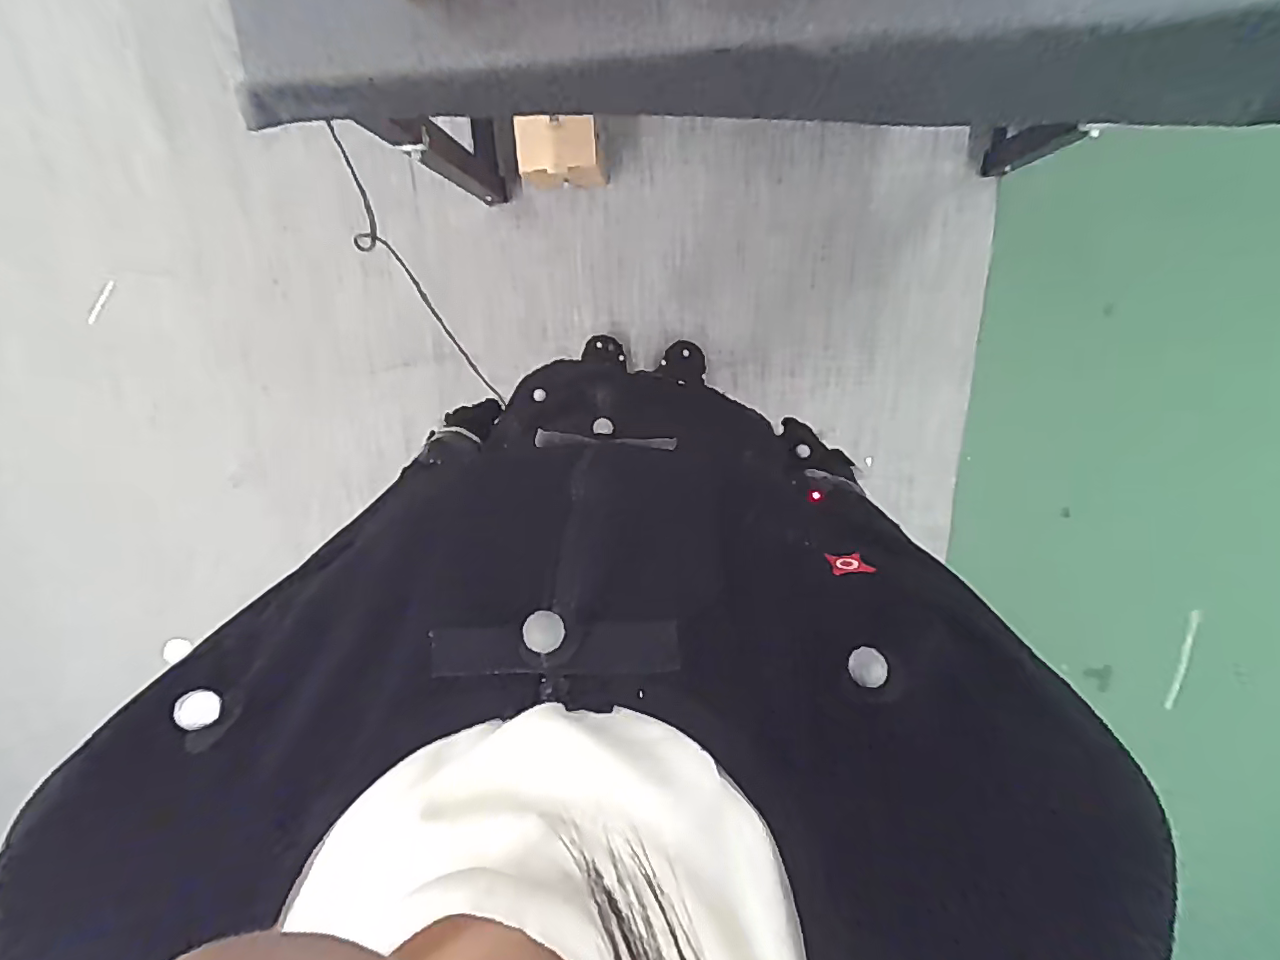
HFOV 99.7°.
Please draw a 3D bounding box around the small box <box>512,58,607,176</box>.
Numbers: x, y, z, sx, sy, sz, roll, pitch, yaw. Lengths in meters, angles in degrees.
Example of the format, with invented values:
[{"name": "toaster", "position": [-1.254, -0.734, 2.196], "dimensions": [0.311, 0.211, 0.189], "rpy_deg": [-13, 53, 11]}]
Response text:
[{"name": "small box", "position": [-0.165, -0.766, 1.162], "dimensions": [0.168, 0.176, 0.179], "rpy_deg": [-1, 107, 4]}]
